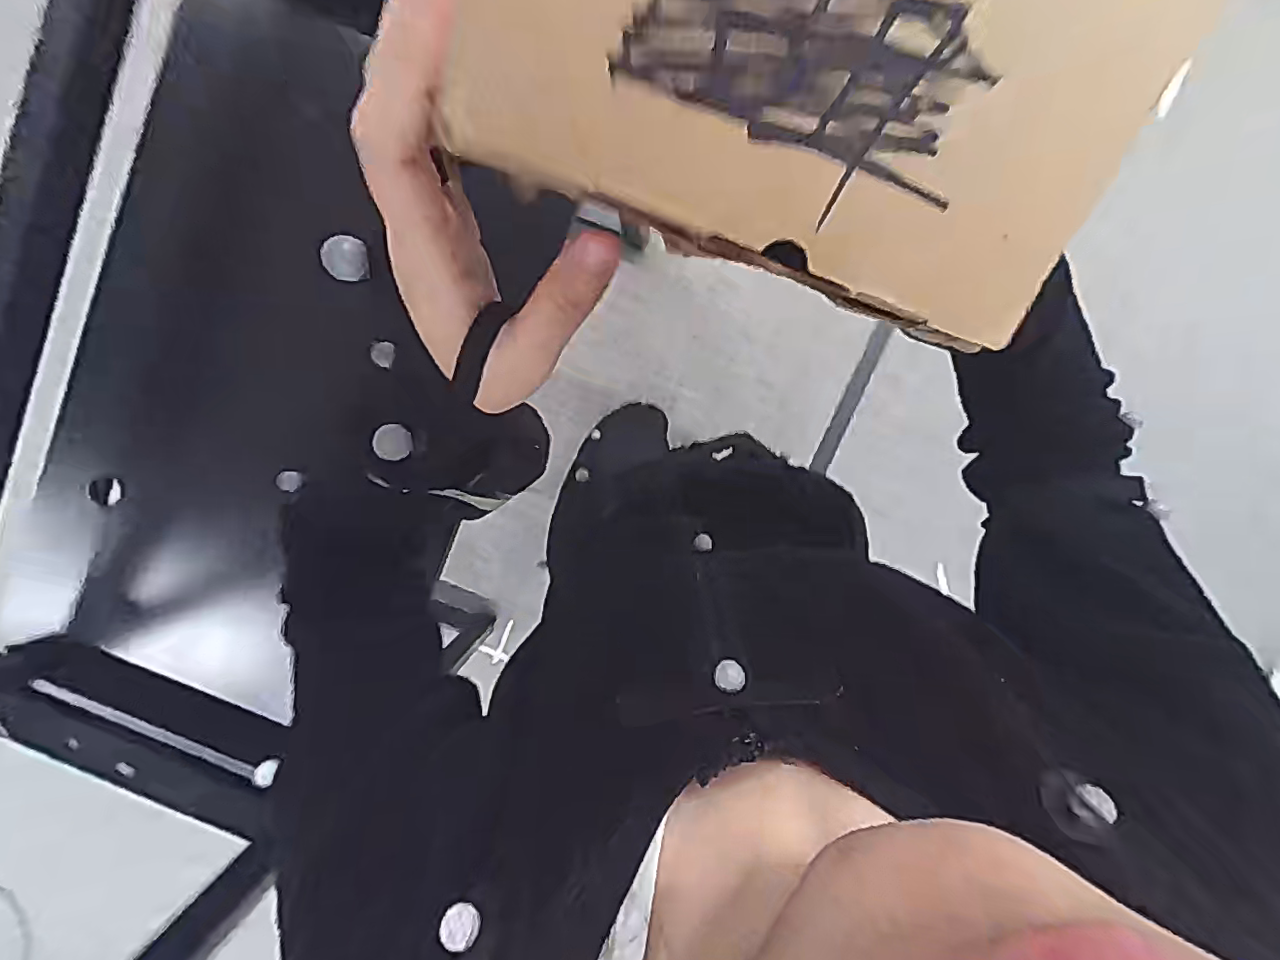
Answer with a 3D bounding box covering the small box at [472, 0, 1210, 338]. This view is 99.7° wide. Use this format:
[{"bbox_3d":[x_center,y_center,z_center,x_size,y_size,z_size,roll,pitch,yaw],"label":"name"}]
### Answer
[{"bbox_3d":[0.048,-0.174,0.176,0.168,0.176,0.179,11,118,-23],"label":"small box"}]
